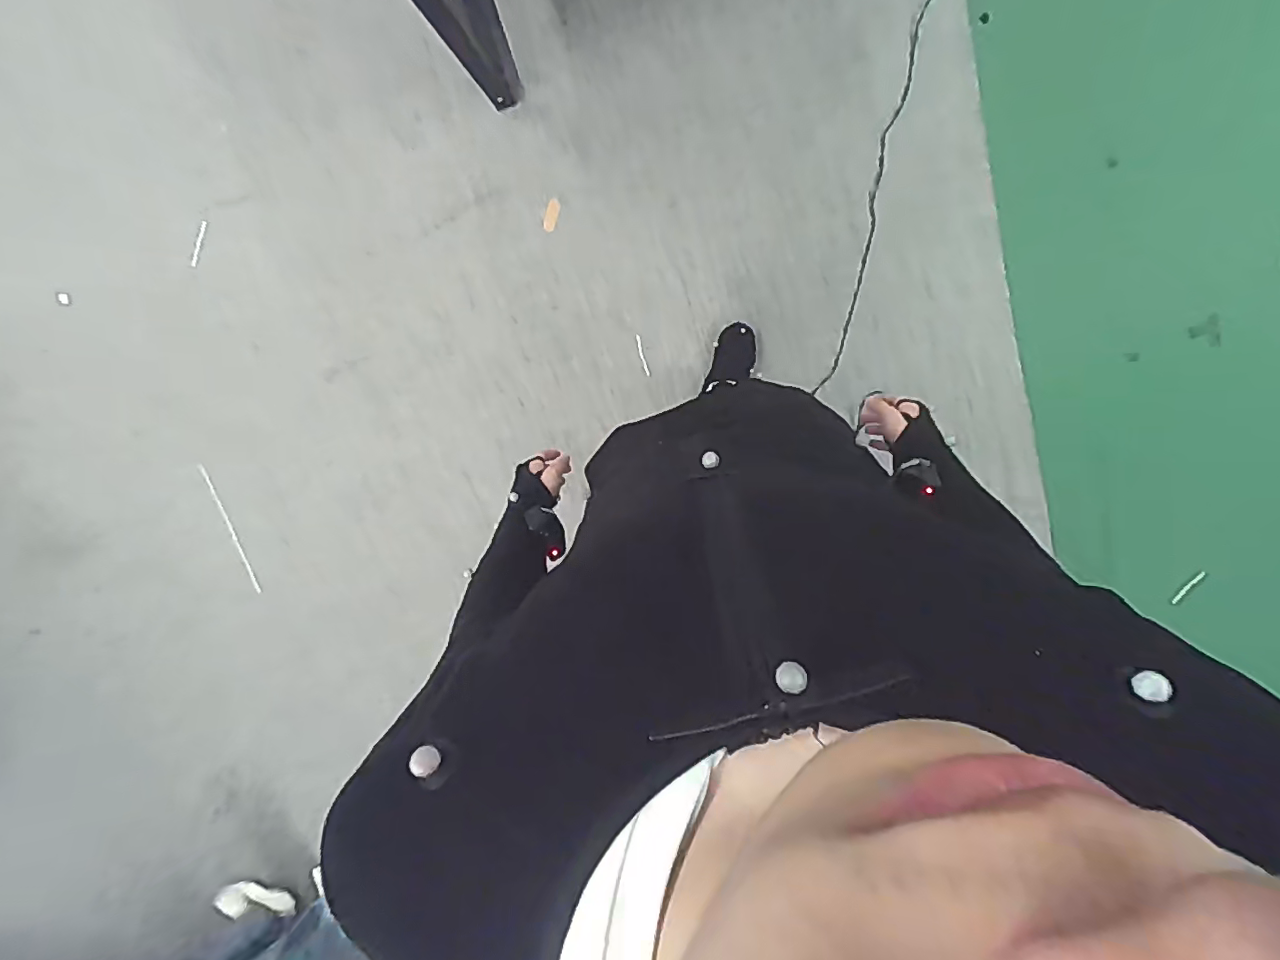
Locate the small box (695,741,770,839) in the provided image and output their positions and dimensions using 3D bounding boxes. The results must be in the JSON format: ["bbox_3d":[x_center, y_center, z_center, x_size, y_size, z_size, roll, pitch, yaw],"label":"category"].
[{"bbox_3d":[0.261,0.885,1.554,0.179,0.176,0.168,-15,99,7],"label":"small box"}]

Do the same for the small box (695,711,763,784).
[{"bbox_3d":[0.278,0.859,1.713,0.179,0.176,0.168,-14,100,8],"label":"small box"}]
